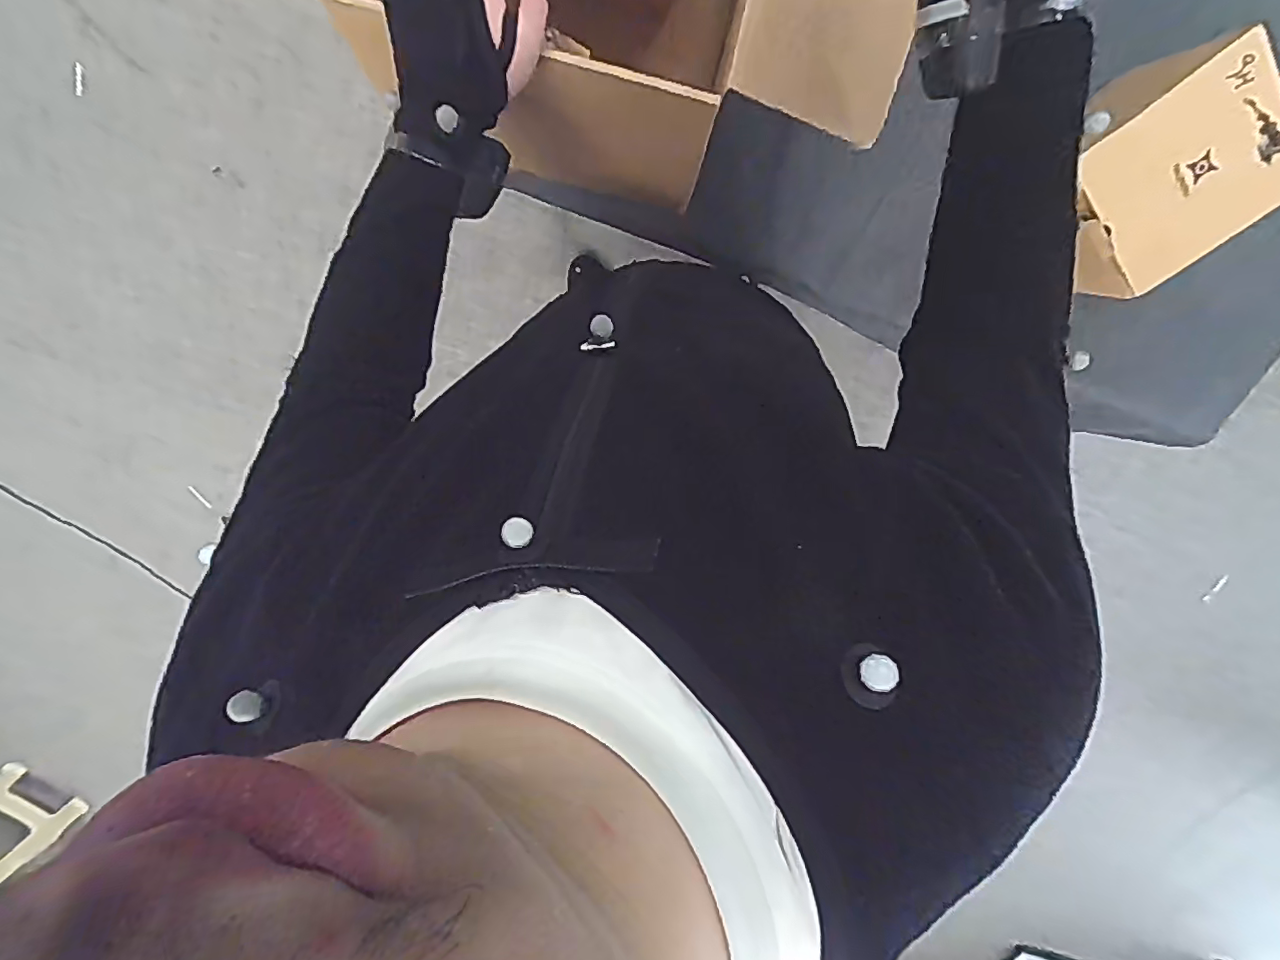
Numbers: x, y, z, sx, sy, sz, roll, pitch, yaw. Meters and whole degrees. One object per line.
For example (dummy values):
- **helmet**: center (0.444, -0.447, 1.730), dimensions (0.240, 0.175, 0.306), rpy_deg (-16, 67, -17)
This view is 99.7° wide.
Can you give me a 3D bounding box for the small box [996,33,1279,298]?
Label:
- **small box**: center (0.543, -0.331, 0.608), dimensions (0.179, 0.176, 0.168), rpy_deg (-36, 107, 16)
